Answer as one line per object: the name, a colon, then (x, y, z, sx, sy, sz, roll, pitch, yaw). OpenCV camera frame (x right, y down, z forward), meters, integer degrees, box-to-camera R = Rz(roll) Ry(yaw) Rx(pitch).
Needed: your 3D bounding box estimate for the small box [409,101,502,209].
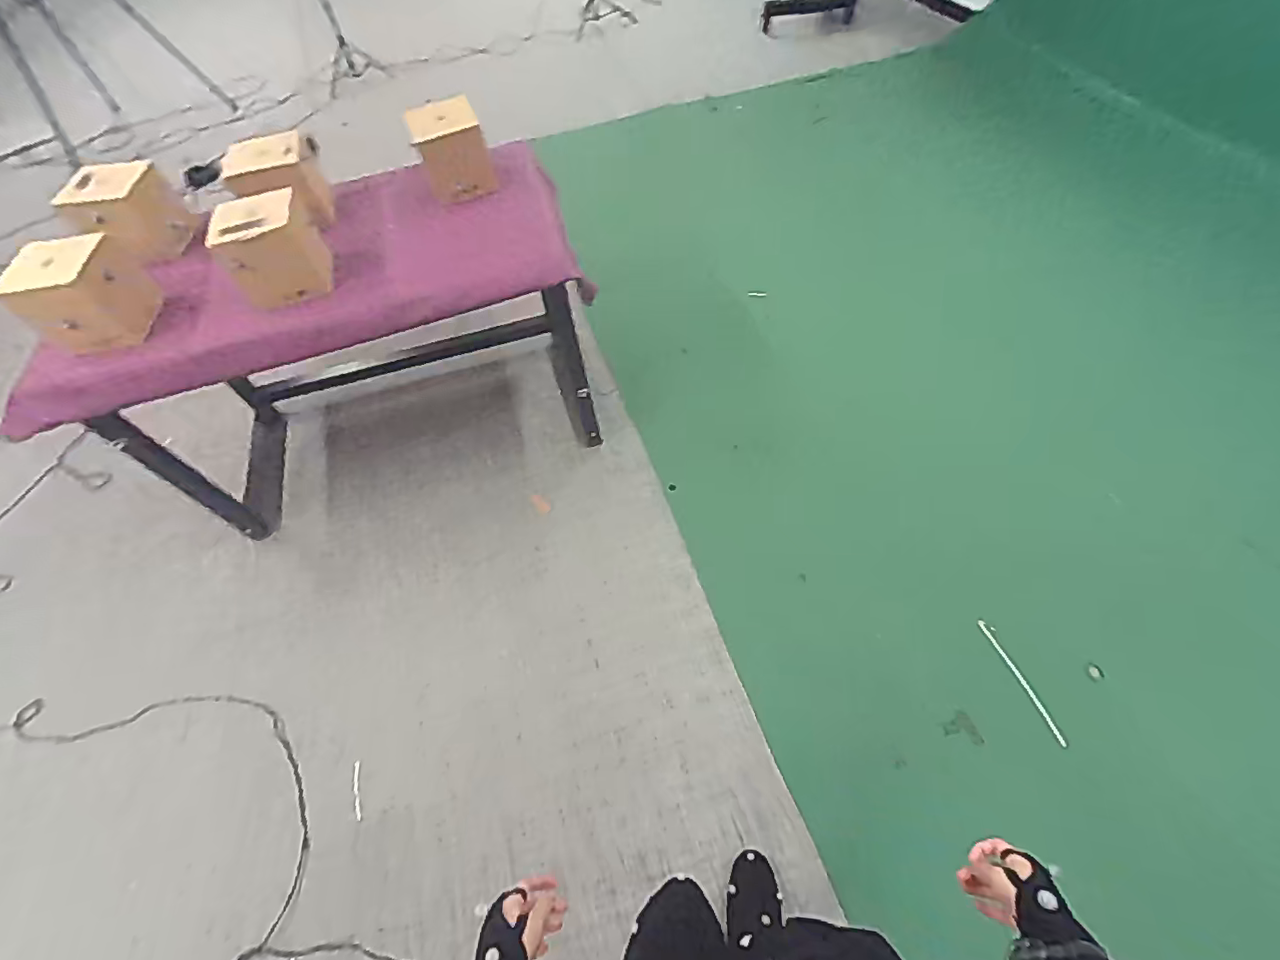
small box: (-0.476, -0.843, 1.409, 0.168, 0.176, 0.179, -21, 59, -7)

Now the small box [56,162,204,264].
small box: (-1.256, -0.659, 1.349, 0.179, 0.176, 0.168, -5, 58, -1)

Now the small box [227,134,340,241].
small box: (-0.895, -0.736, 1.373, 0.179, 0.176, 0.168, -17, 59, -6)

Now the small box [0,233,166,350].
small box: (-1.191, -0.400, 1.172, 0.168, 0.176, 0.179, -9, 56, -2)
